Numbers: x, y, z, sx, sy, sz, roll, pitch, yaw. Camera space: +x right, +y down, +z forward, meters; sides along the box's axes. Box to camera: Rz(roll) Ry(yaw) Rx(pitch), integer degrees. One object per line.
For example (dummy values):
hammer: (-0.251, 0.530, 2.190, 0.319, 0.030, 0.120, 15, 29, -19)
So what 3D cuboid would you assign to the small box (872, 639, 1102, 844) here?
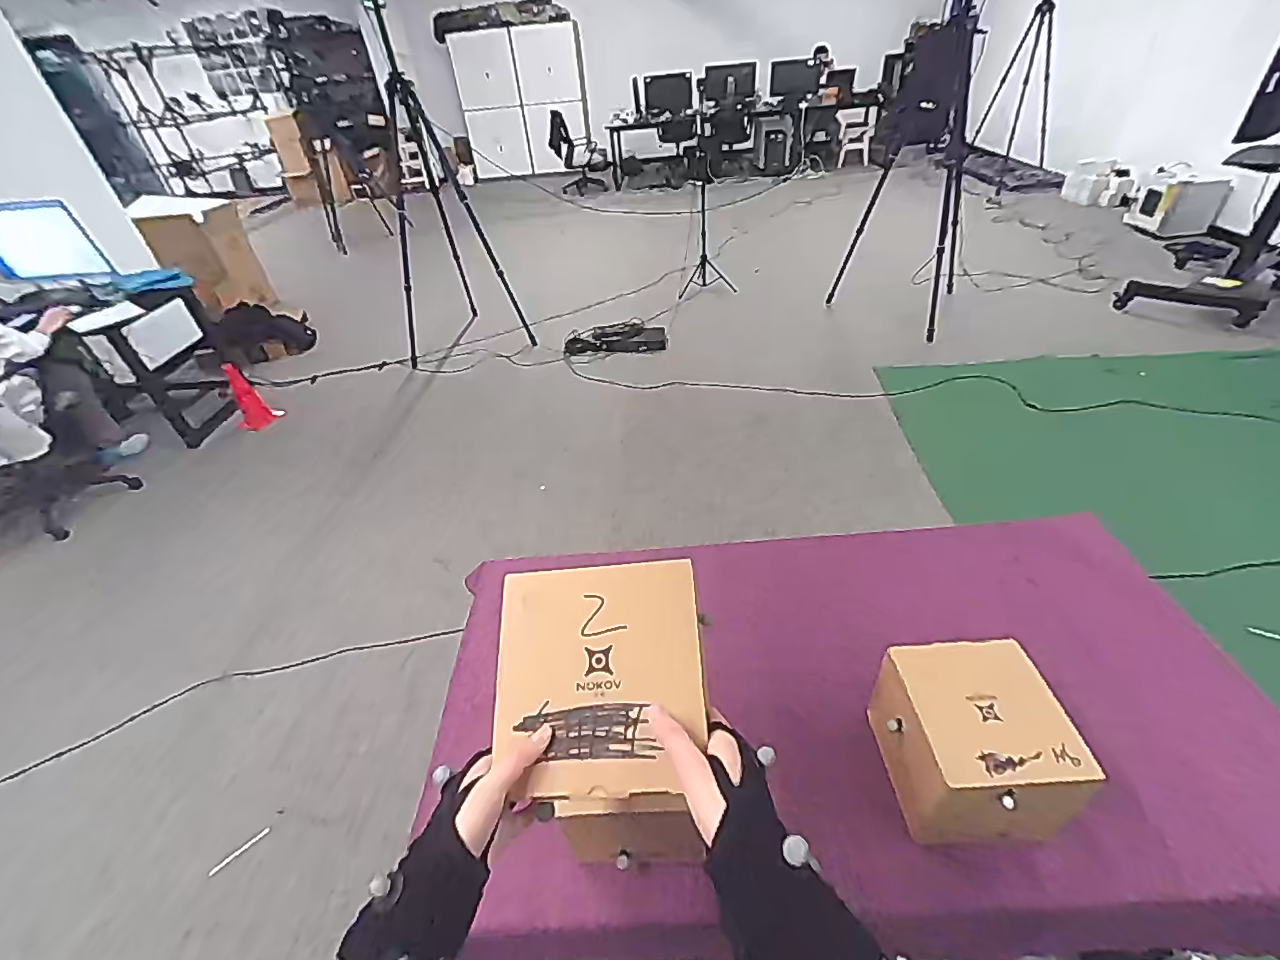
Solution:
small box: (0.412, 0.329, 0.686, 0.168, 0.176, 0.179, -6, 38, 3)

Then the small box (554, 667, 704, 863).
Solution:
small box: (-0.006, 0.367, 0.702, 0.168, 0.176, 0.179, -4, 40, 4)
